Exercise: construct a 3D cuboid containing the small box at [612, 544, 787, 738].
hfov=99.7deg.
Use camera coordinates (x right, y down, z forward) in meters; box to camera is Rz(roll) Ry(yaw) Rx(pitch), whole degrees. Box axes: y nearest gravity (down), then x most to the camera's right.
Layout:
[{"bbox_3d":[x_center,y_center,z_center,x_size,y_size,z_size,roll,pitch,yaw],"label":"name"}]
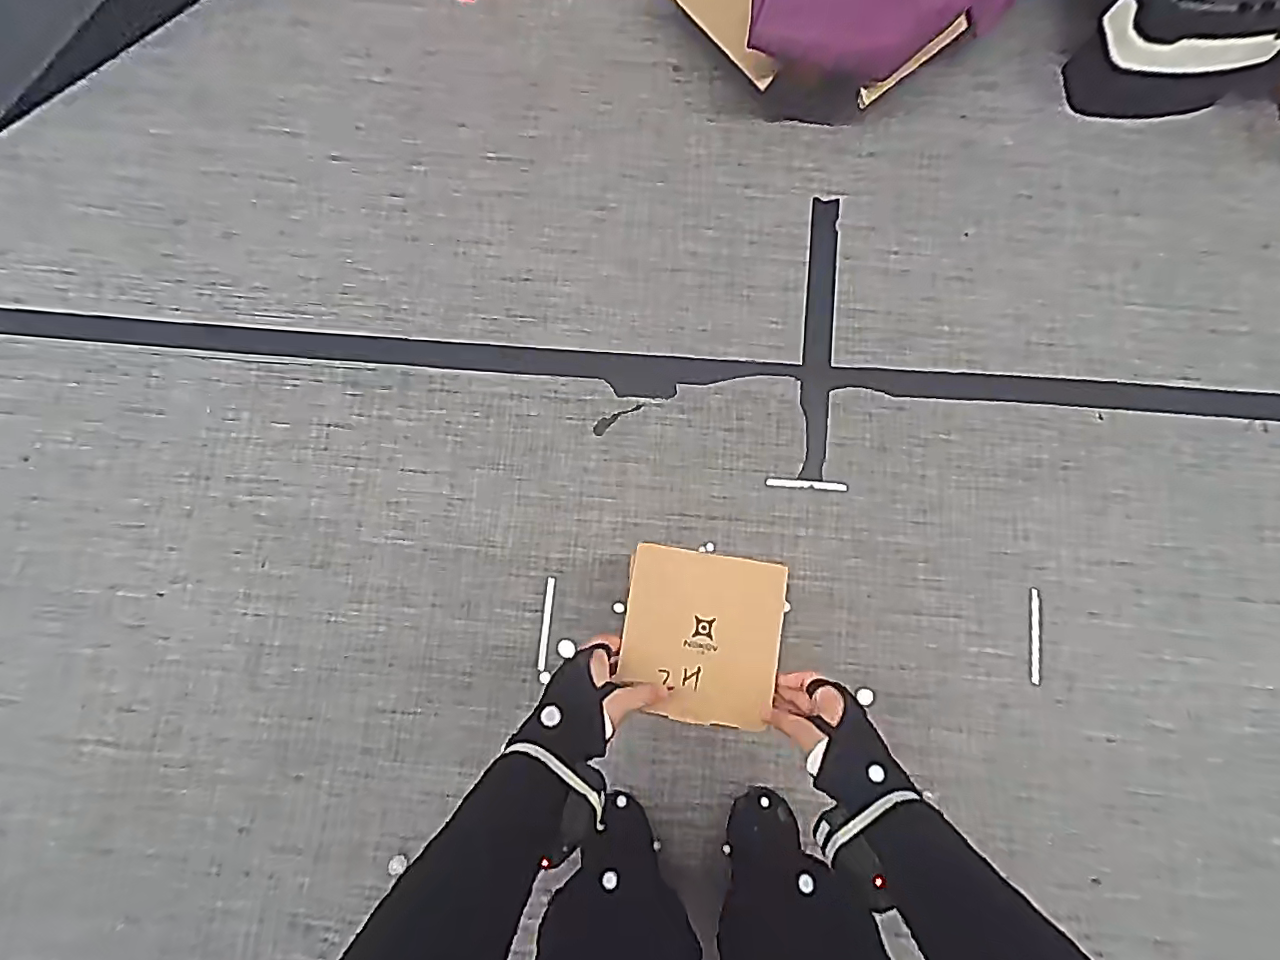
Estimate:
[{"bbox_3d":[0.063,0.178,0.645,0.168,0.176,0.179,10,82,2],"label":"small box"}]
